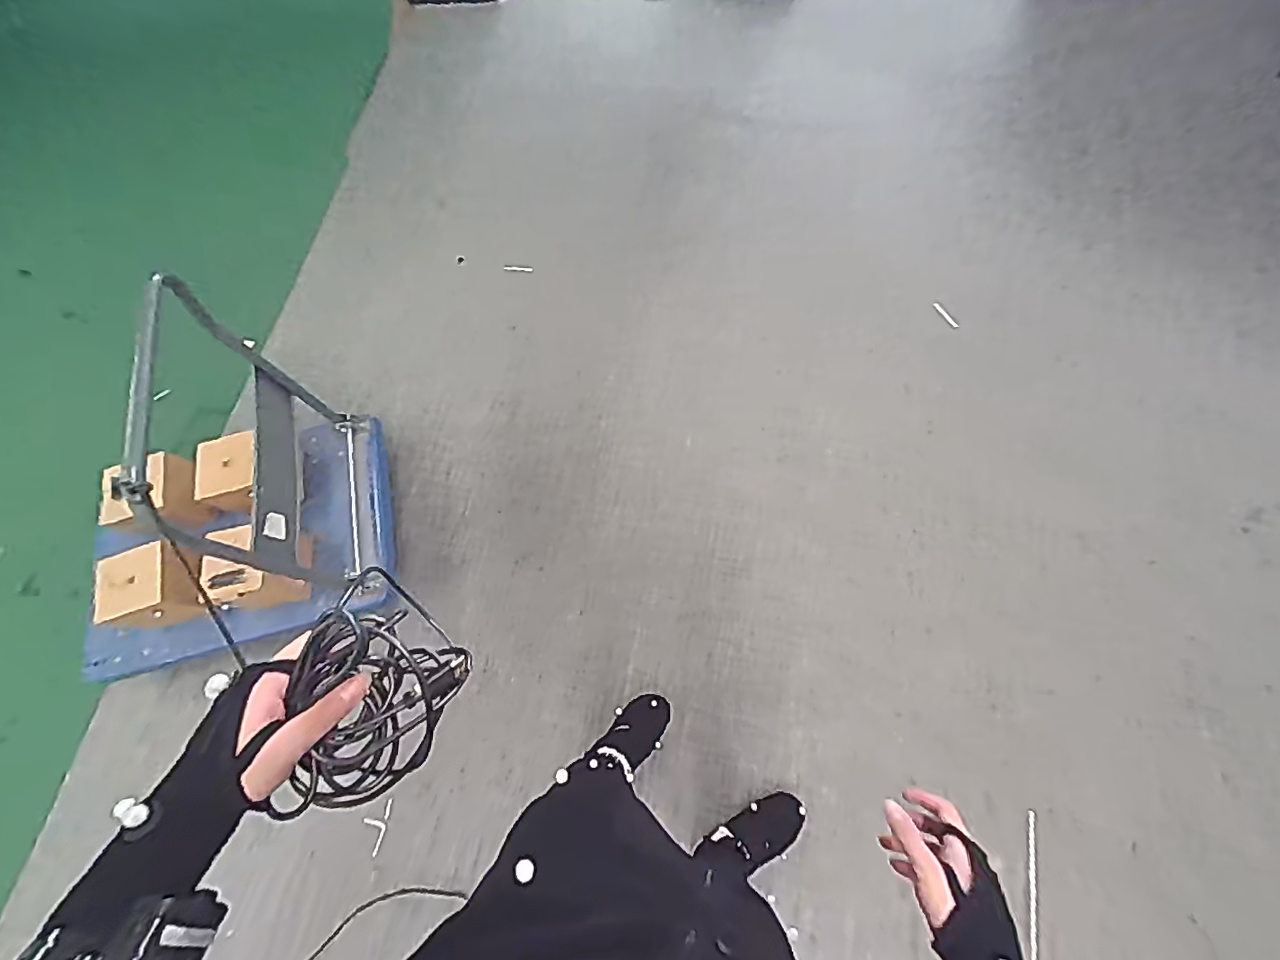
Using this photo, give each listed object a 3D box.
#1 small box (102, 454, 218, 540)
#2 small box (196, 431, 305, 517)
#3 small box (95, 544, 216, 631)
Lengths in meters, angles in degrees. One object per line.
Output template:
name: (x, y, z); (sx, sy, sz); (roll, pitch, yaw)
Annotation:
small box: (-1.319, 0.054, 1.496); (0.179, 0.176, 0.168); (-17, 70, 1)
small box: (-1.062, -0.009, 1.486); (0.179, 0.176, 0.168); (-15, 70, 2)
small box: (-1.246, 0.283, 1.406); (0.179, 0.176, 0.168); (-19, 69, 1)
